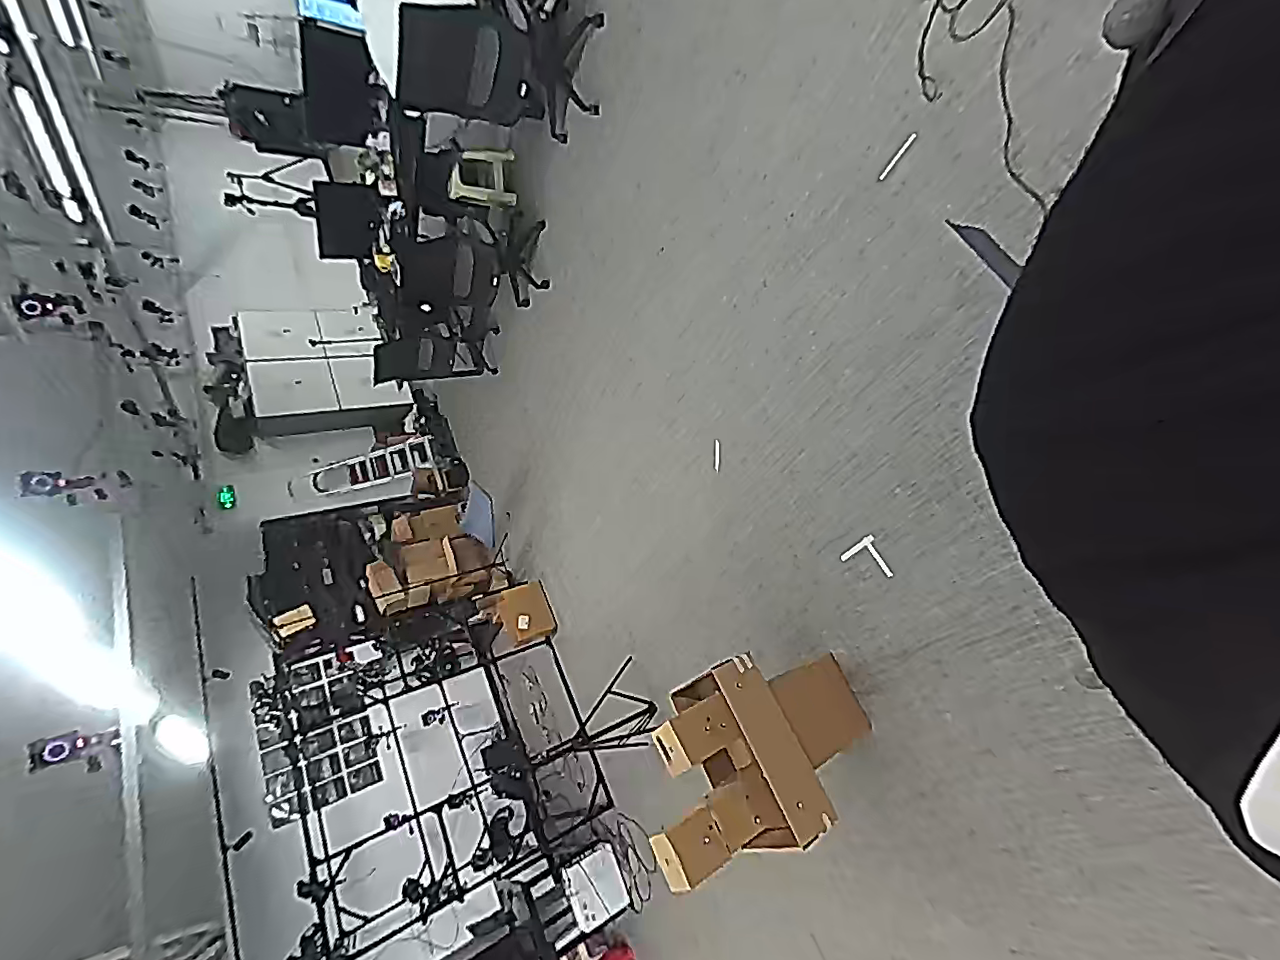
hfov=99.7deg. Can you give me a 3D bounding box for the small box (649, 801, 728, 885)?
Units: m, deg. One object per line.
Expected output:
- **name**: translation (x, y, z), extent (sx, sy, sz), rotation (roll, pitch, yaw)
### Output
- **small box**: translation (0.159, 1.180, 1.761), extent (0.168, 0.176, 0.179), rotation (59, 145, 25)

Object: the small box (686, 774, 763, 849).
- **small box**: translation (0.293, 1.132, 1.847), extent (0.168, 0.176, 0.179), rotation (60, 146, 24)
